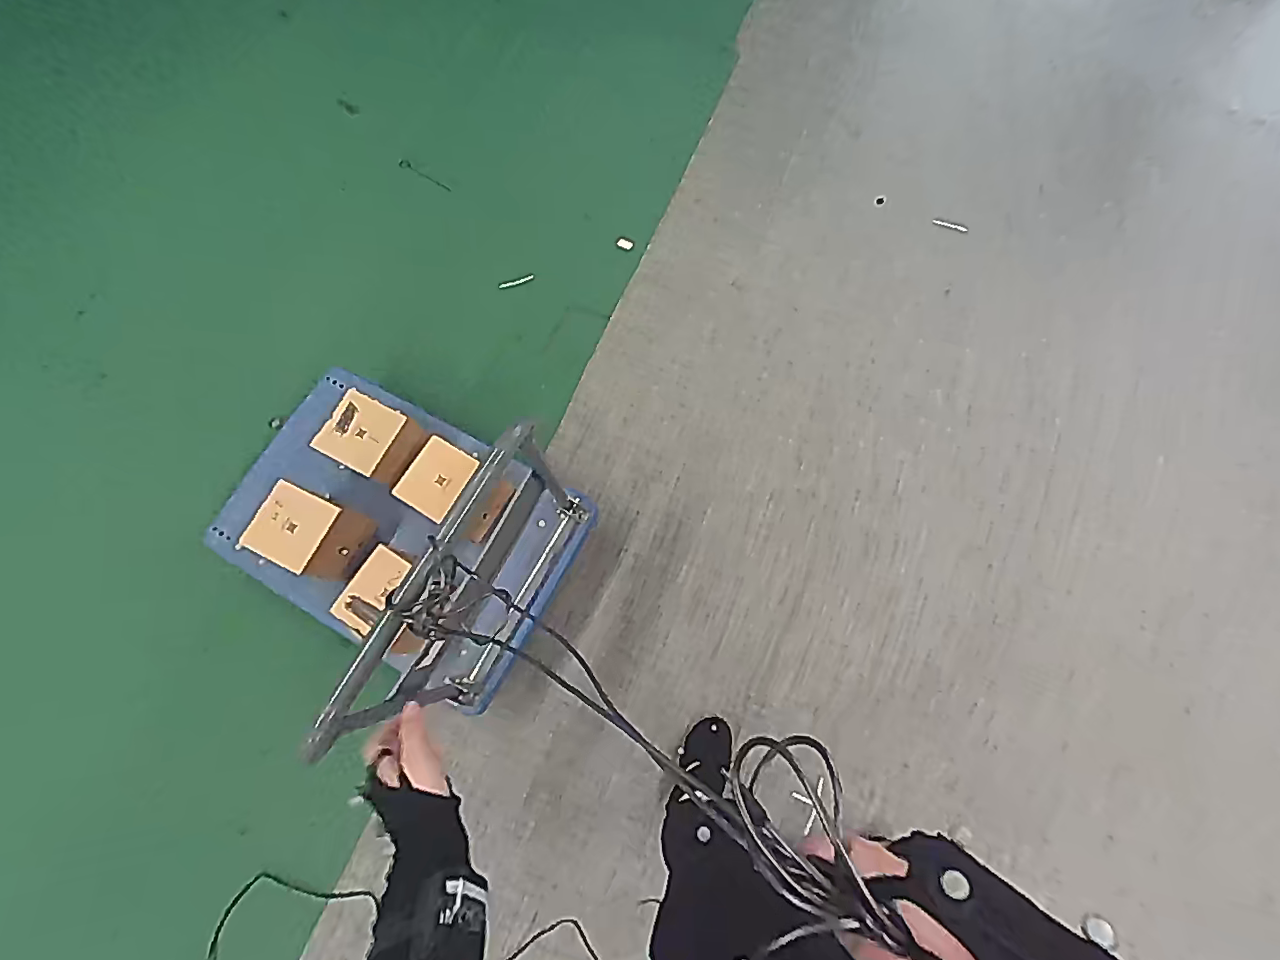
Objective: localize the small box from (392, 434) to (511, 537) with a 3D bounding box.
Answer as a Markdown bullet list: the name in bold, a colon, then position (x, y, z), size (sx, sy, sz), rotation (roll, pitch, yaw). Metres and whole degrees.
- **small box**: position (-0.441, 0.022, 1.294), size (0.179, 0.176, 0.168), rotation (30, 78, 11)

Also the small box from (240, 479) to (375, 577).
- **small box**: position (-0.777, 0.122, 1.287), size (0.179, 0.176, 0.168), rotation (24, 76, 10)

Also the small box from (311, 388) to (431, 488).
- **small box**: position (-0.651, -0.095, 1.339), size (0.179, 0.176, 0.168), rotation (27, 78, 10)
